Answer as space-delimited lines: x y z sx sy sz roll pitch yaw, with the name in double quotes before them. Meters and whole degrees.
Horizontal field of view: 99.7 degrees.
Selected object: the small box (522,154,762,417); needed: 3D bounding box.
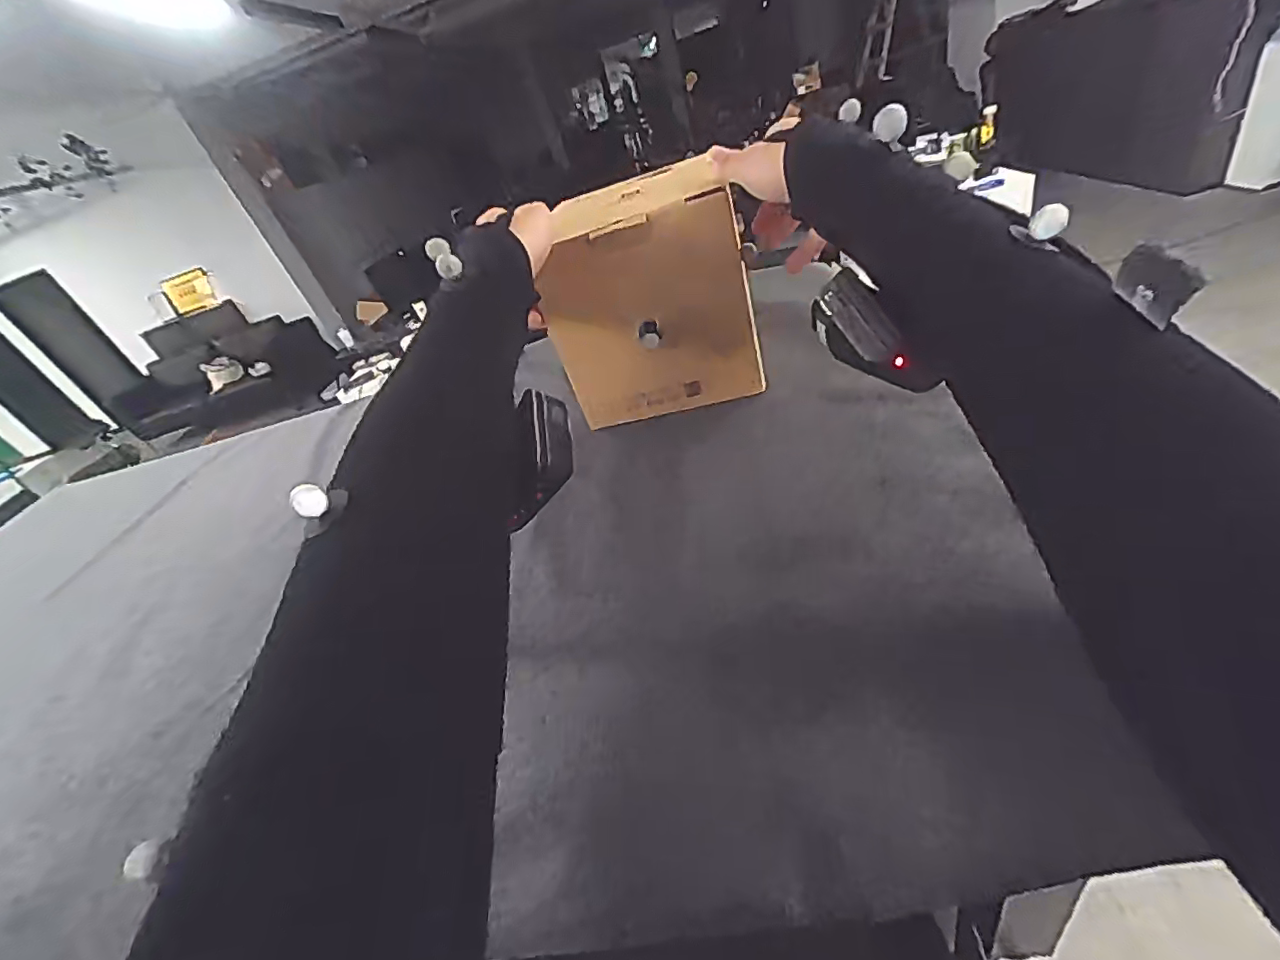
"small box" 0.015 -0.174 0.510 0.168 0.176 0.179 -10 38 15
